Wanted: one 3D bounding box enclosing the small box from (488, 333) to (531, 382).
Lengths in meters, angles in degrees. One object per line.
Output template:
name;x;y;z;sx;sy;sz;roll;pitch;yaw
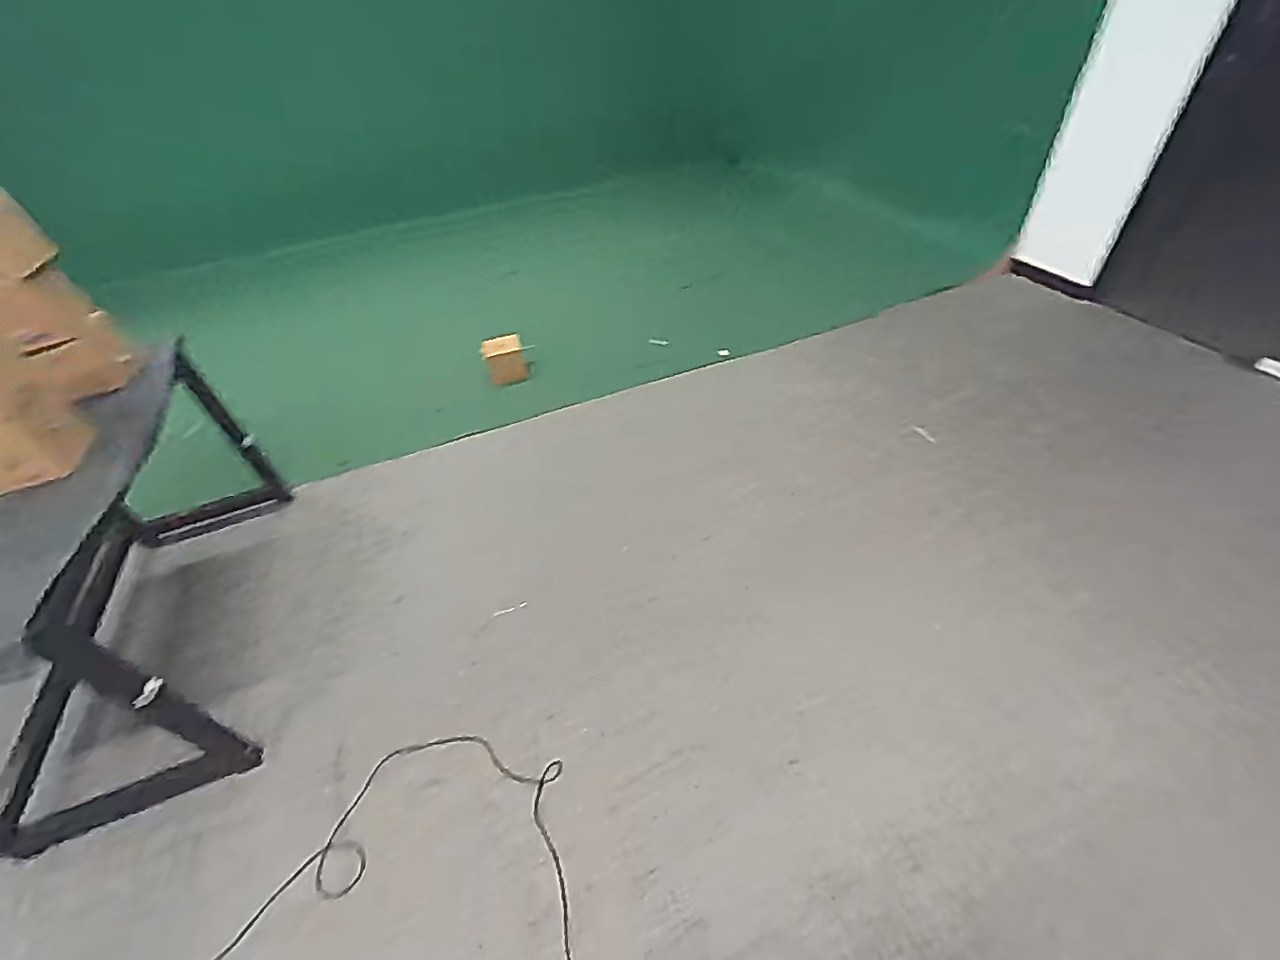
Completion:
small box;-0.665;-0.628;2.771;0.179;0.176;0.168;-15;45;-8

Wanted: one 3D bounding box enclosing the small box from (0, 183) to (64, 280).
small box;-1.616;-0.610;1.346;0.168;0.176;0.179;-19;46;-7

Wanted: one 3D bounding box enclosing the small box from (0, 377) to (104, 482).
small box;-1.456;-0.115;1.294;0.168;0.176;0.179;-17;46;-9

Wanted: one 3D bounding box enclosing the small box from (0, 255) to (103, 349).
small box;-1.611;-0.479;1.450;0.168;0.176;0.179;-22;48;-10

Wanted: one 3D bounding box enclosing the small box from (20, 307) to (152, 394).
small box;-1.595;-0.373;1.572;0.179;0.176;0.168;-15;46;-6
